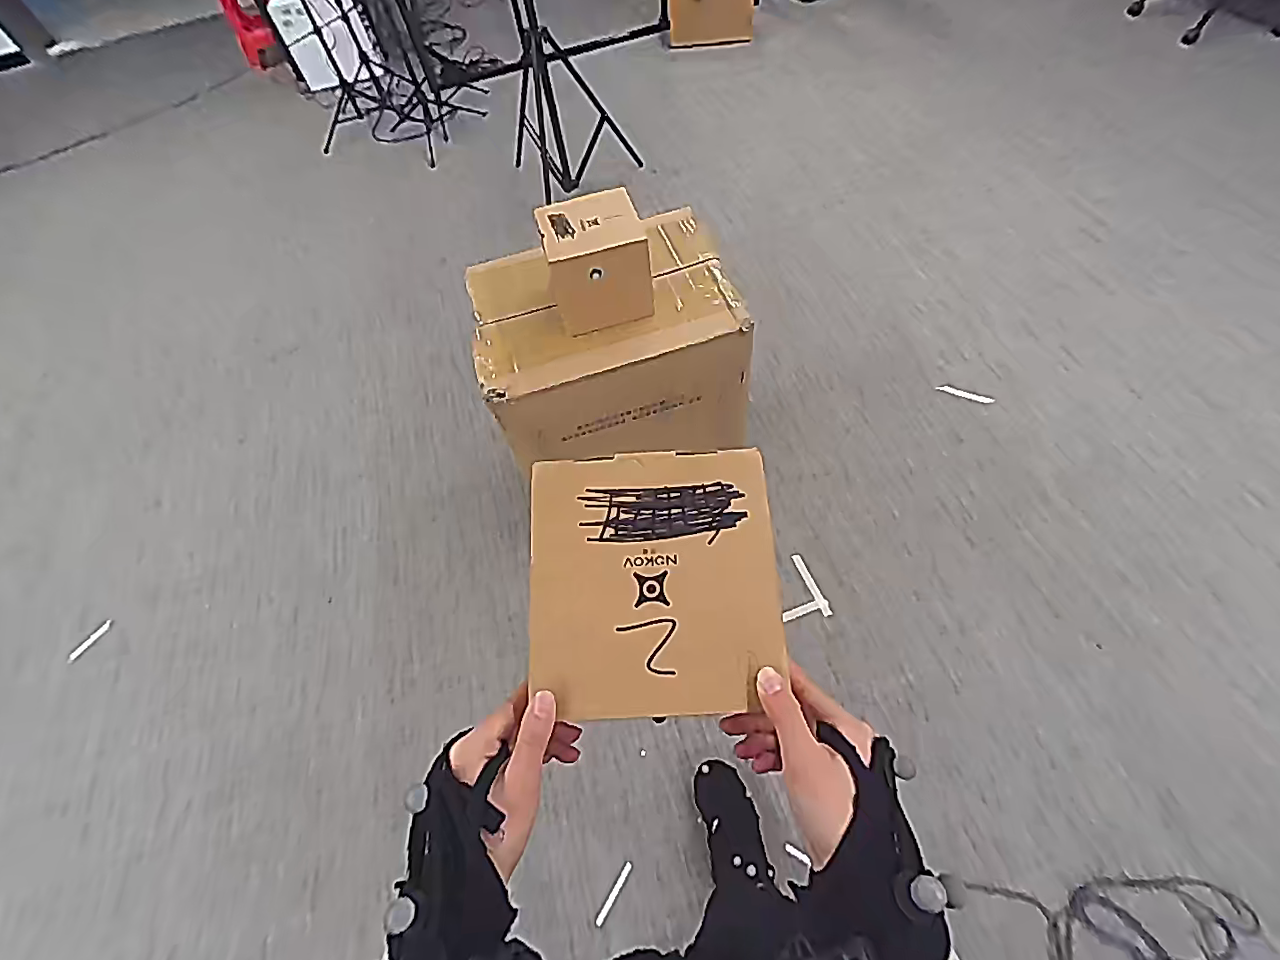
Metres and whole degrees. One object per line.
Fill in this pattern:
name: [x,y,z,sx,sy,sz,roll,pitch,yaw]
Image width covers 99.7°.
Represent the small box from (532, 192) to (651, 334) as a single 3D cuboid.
small box: [-0.087,-0.401,1.019,0.179,0.176,0.168,-16,58,-3]
